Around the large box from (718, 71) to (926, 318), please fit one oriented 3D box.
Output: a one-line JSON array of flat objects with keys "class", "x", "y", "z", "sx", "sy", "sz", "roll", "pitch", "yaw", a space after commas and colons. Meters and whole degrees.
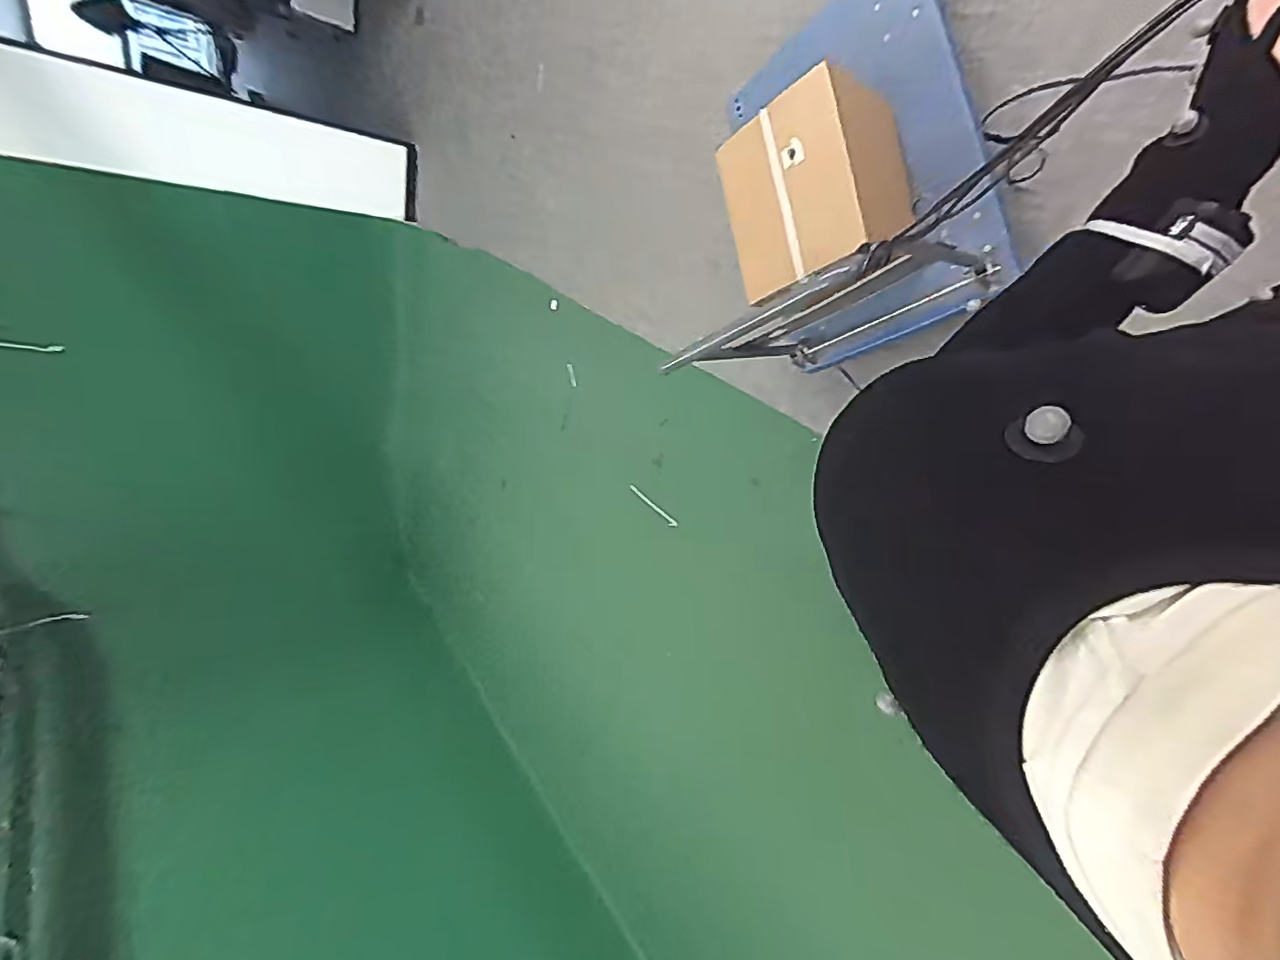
[{"class": "large box", "x": 0.442, "y": -0.653, "z": 1.320, "sx": 0.320, "sy": 0.320, "sz": 0.408, "roll": -14, "pitch": 87, "yaw": 48}]
